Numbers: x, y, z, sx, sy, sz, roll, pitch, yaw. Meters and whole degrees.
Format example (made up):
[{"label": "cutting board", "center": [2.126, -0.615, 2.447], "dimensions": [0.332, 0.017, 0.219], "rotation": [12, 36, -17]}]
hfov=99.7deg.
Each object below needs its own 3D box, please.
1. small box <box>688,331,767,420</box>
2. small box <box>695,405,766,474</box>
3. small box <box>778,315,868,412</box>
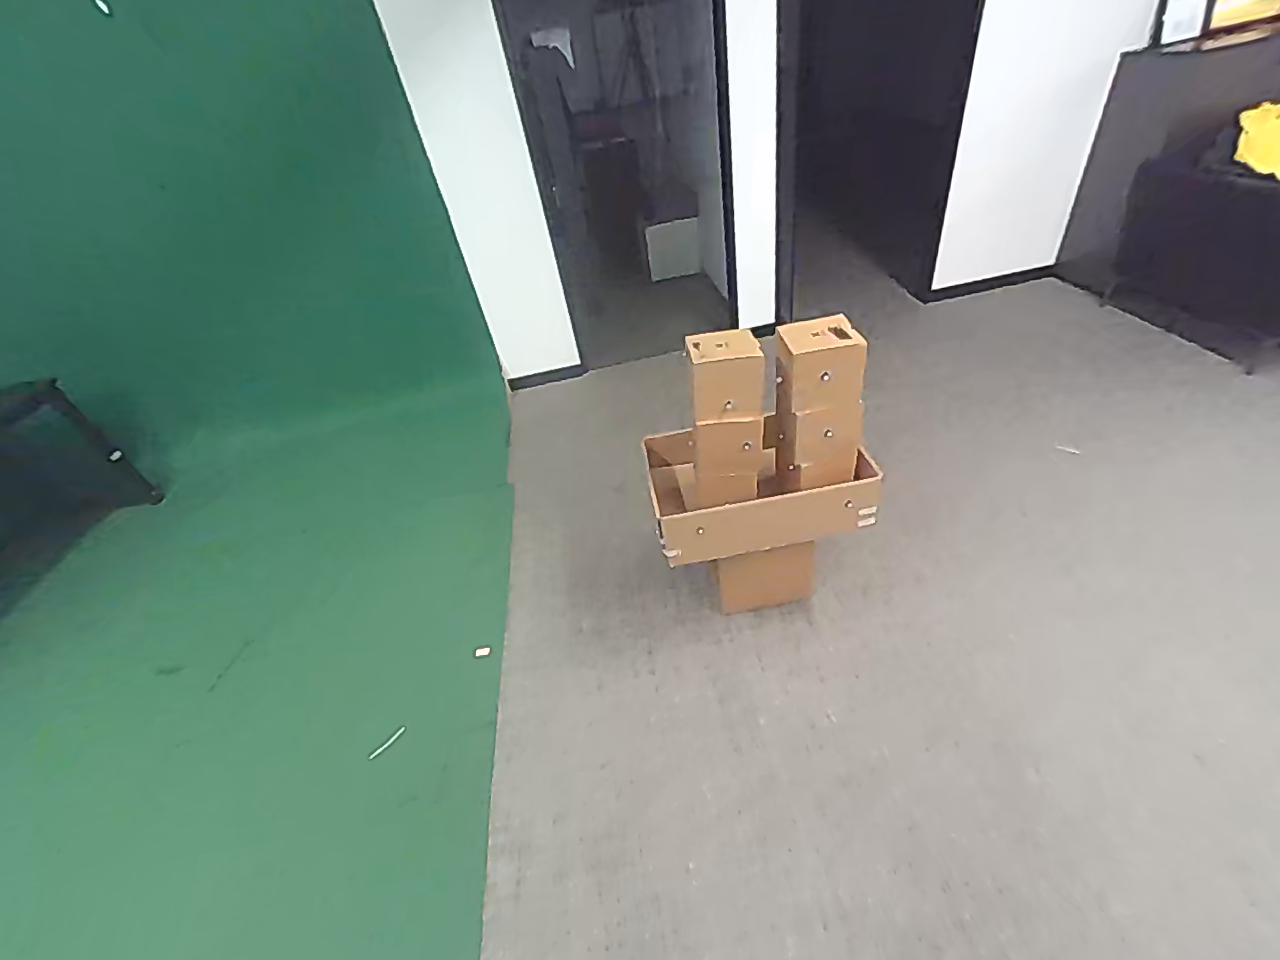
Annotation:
[{"label": "small box", "center": [0.220, -0.272, 1.411], "dimensions": [0.179, 0.176, 0.168], "rotation": [-5, 37, 0]}, {"label": "small box", "center": [0.242, -0.132, 1.494], "dimensions": [0.179, 0.176, 0.168], "rotation": [-4, 38, 4]}, {"label": "small box", "center": [0.457, -0.295, 1.378], "dimensions": [0.179, 0.176, 0.168], "rotation": [-10, 39, 4]}]
